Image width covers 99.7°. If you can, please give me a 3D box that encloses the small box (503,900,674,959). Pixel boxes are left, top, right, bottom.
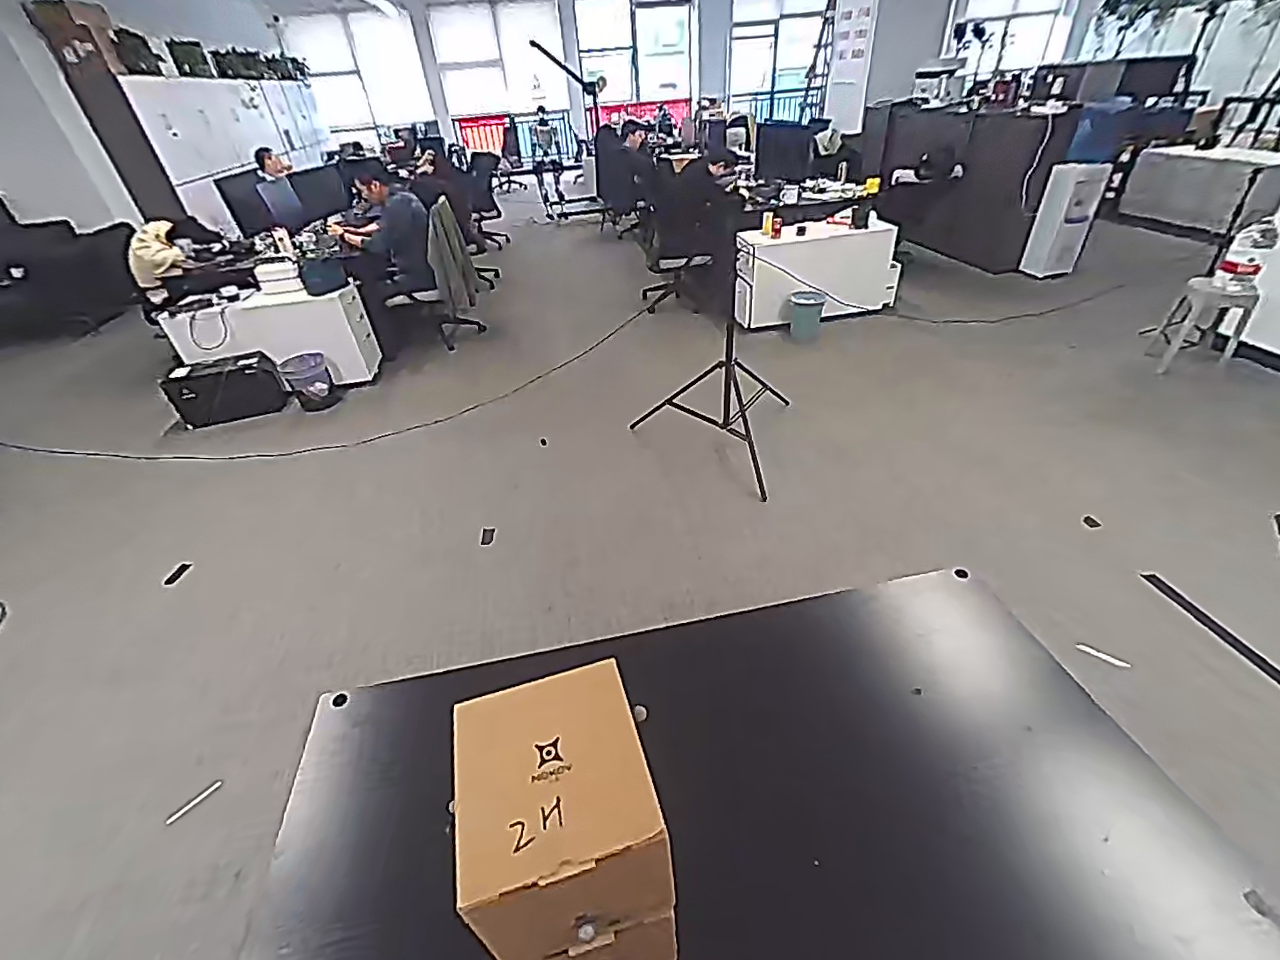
[{"bbox_3d":[-0.063,0.454,0.627,0.168,0.176,0.179,-13,37,-10],"label":"small box"}]

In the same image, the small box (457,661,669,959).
[{"bbox_3d":[-0.076,0.318,0.533,0.168,0.176,0.179,-14,37,-10],"label":"small box"}]
